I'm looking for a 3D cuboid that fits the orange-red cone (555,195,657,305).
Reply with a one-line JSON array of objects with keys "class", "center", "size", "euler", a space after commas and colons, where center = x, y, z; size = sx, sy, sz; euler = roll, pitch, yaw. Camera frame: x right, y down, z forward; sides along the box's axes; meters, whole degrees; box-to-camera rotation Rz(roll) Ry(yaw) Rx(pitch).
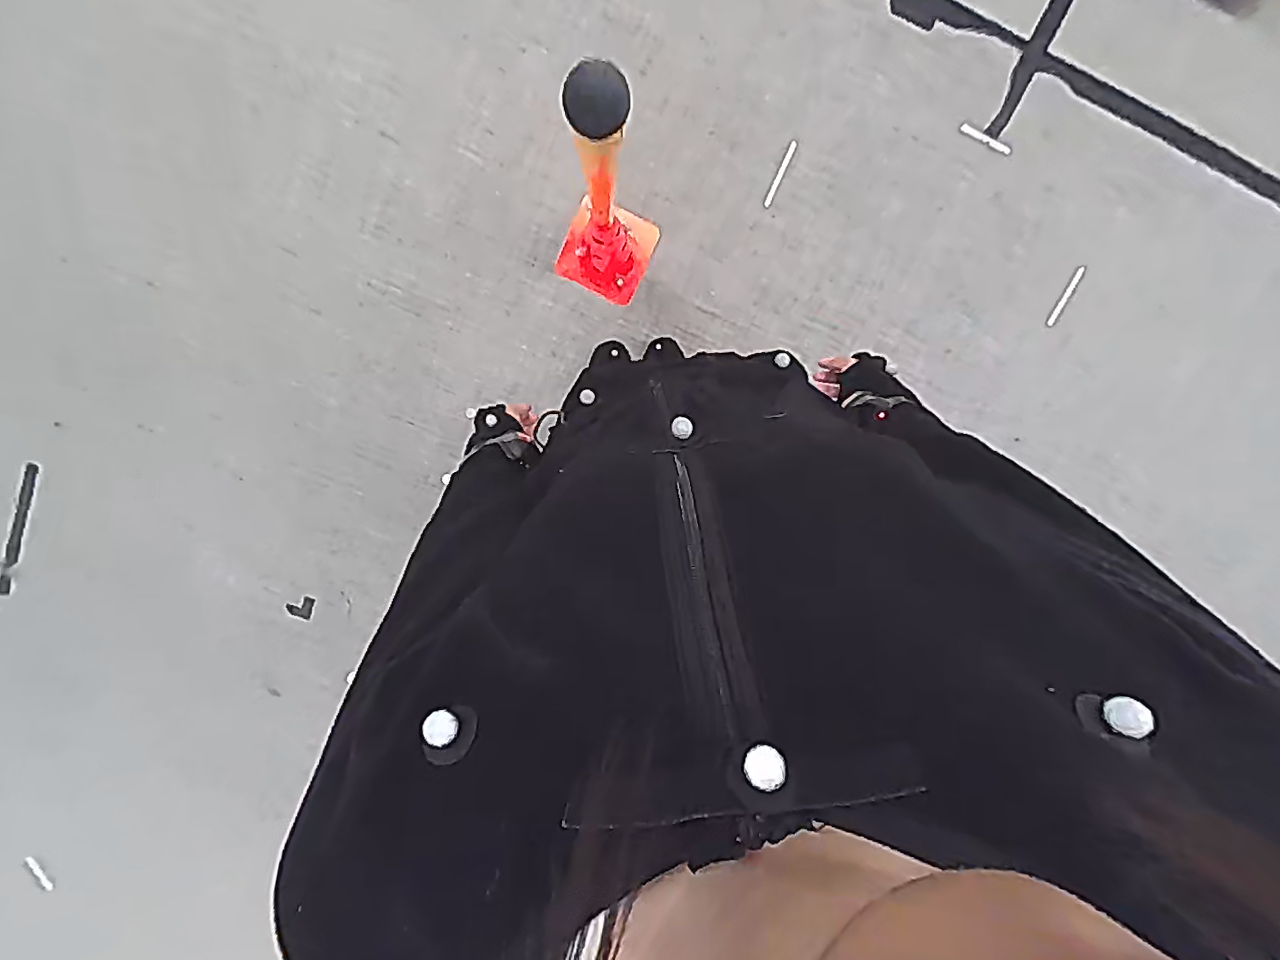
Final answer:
[{"class": "orange-red cone", "center": [-0.073, -0.505, 1.120], "size": [0.198, 0.360, 0.199], "euler": [26, 101, -9]}]
